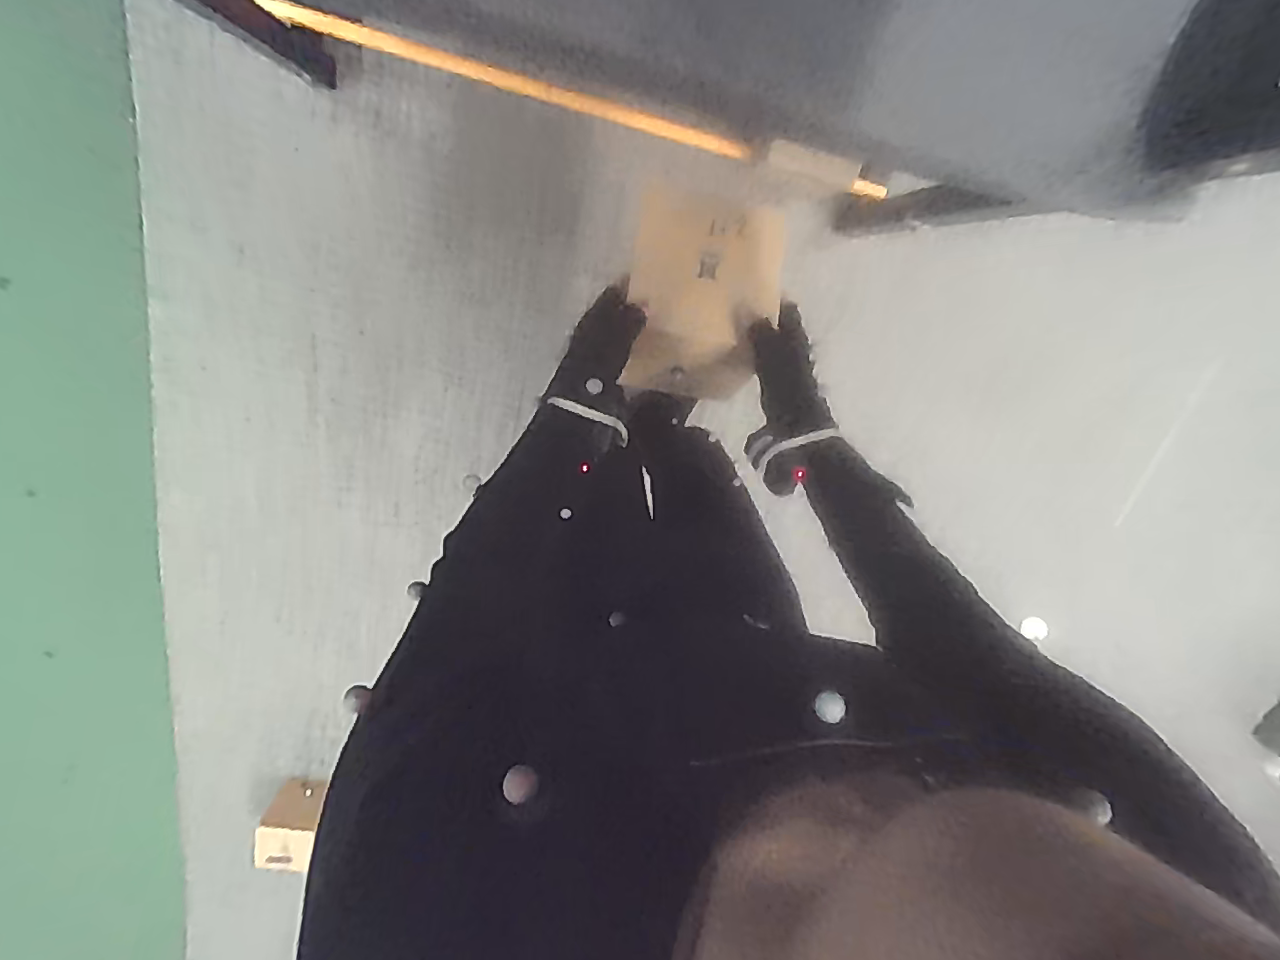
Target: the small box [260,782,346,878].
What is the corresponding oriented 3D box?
[{"bbox_3d":[-1.024,1.066,1.652,0.168,0.176,0.179,12,109,-8],"label":"small box"}]
